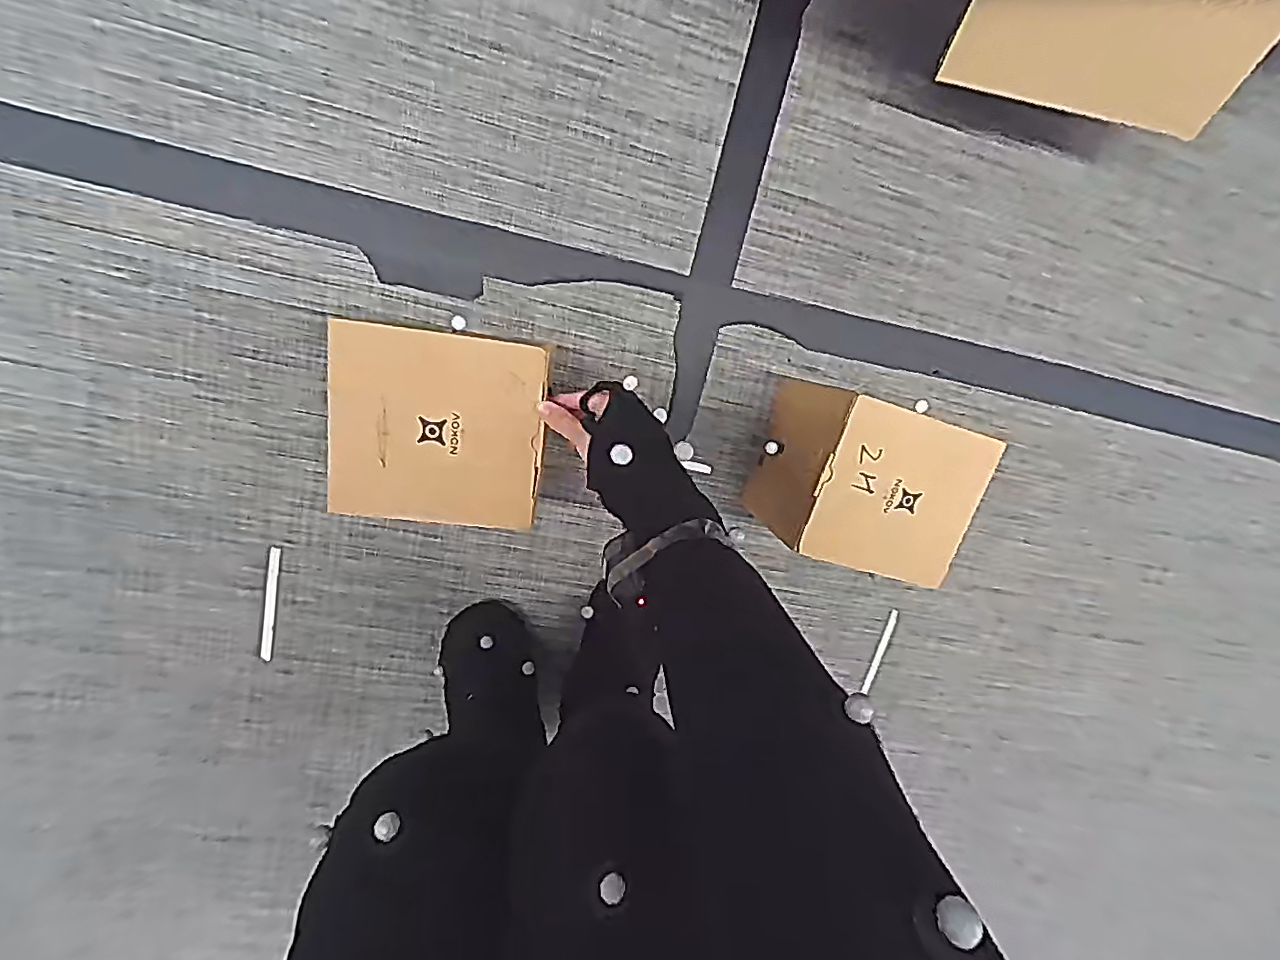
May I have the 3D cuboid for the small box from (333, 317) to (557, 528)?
[{"bbox_3d":[-0.176,-0.063,0.531,0.179,0.176,0.168,6,104,-8],"label":"small box"}]

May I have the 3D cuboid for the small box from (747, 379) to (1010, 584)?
[{"bbox_3d":[0.247,-0.008,0.605,0.179,0.176,0.168,15,103,-12],"label":"small box"}]
